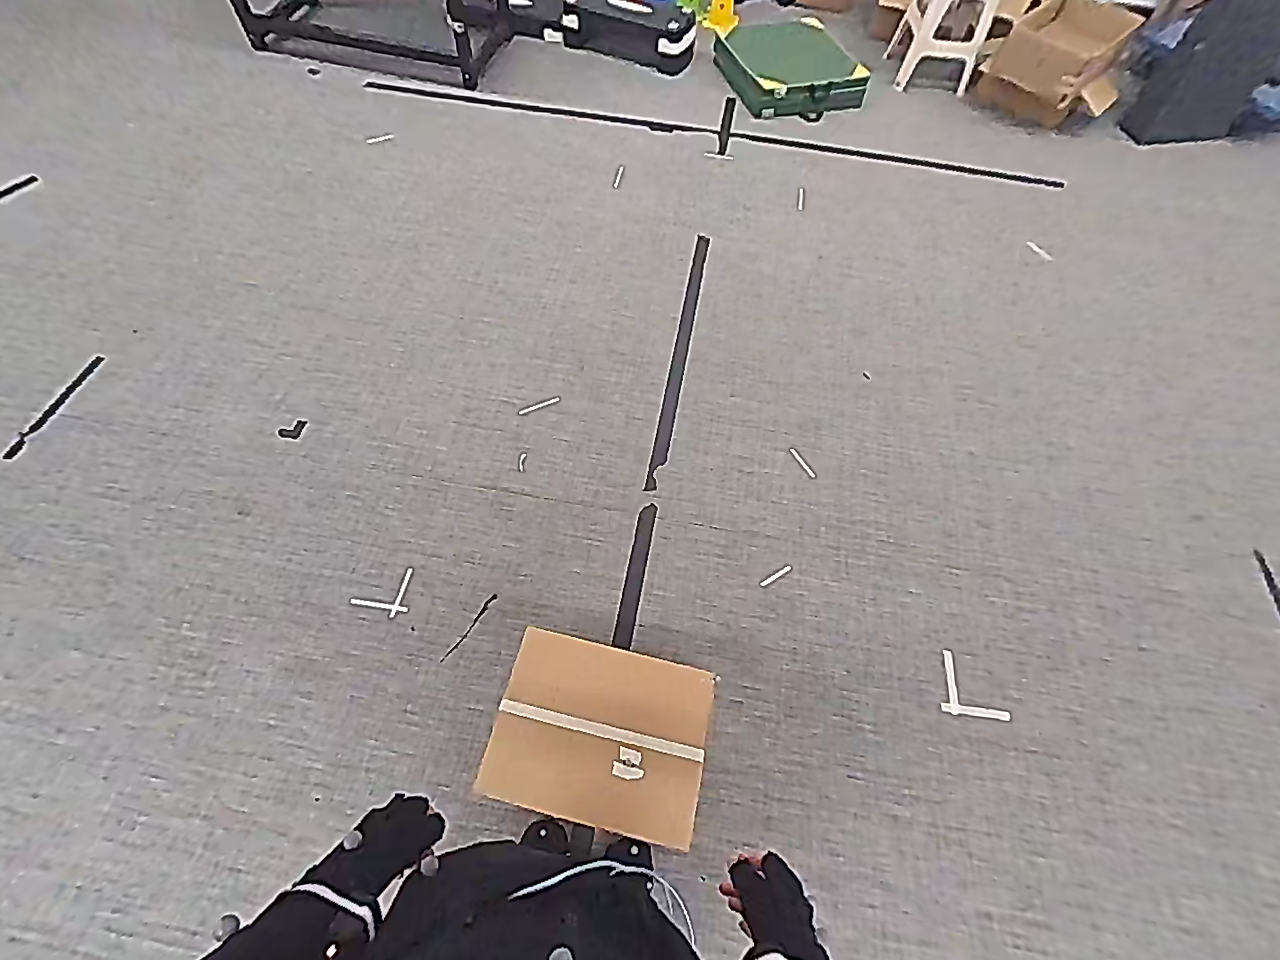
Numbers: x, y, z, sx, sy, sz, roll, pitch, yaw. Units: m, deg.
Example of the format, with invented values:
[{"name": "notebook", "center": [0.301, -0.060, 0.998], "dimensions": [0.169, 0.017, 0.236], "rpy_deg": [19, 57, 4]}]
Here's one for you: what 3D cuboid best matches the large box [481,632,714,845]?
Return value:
[{"name": "large box", "center": [-0.083, 0.562, 1.186], "dimensions": [0.408, 0.320, 0.320], "rpy_deg": [13, 61, 3]}]
